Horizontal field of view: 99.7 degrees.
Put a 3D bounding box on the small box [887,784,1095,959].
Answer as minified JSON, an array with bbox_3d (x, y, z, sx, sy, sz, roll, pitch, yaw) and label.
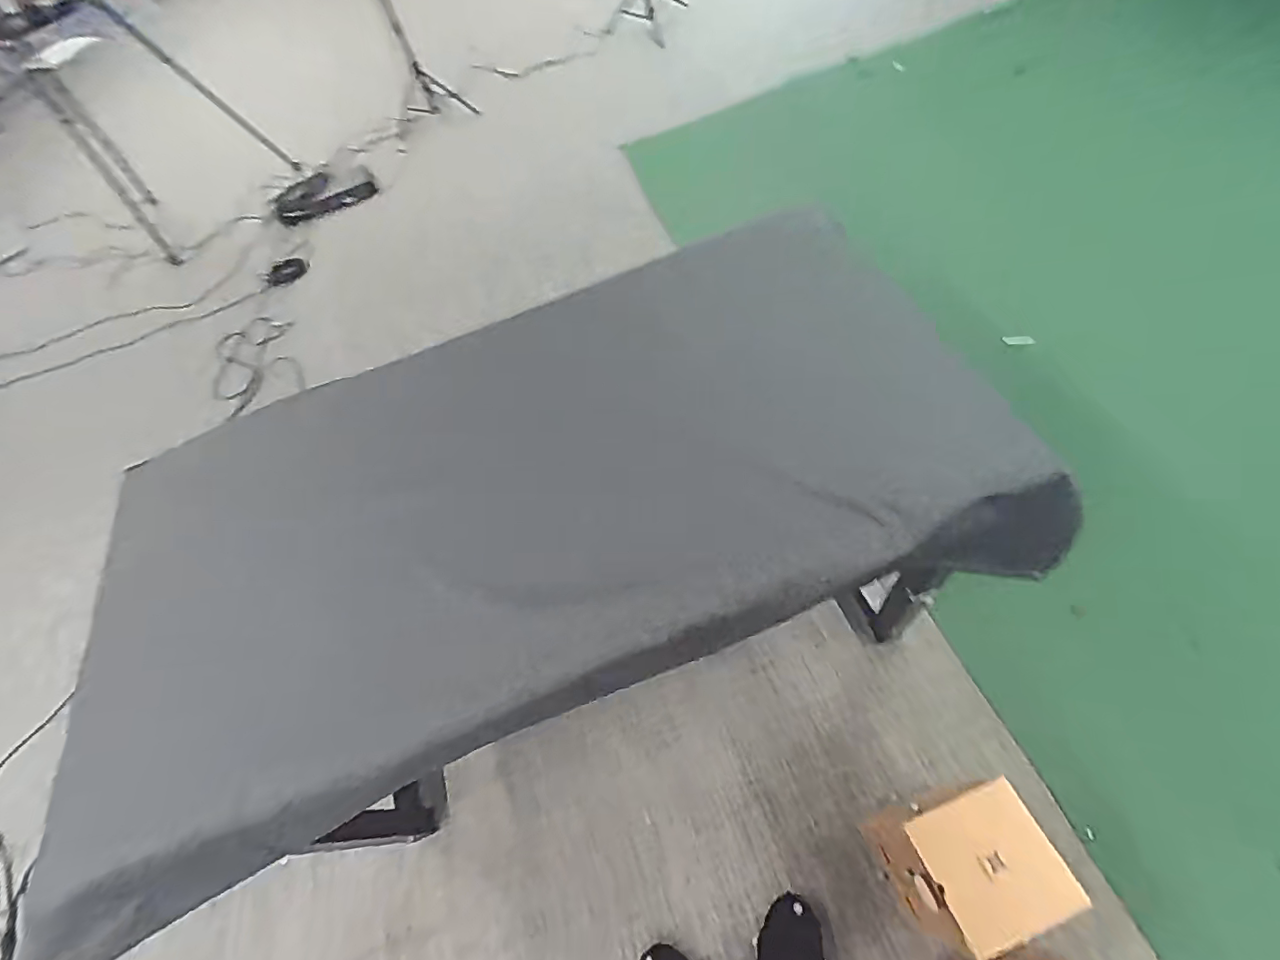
[{"bbox_3d":[0.506,0.580,0.814,0.179,0.176,0.168,-24,57,-3],"label":"small box"}]
